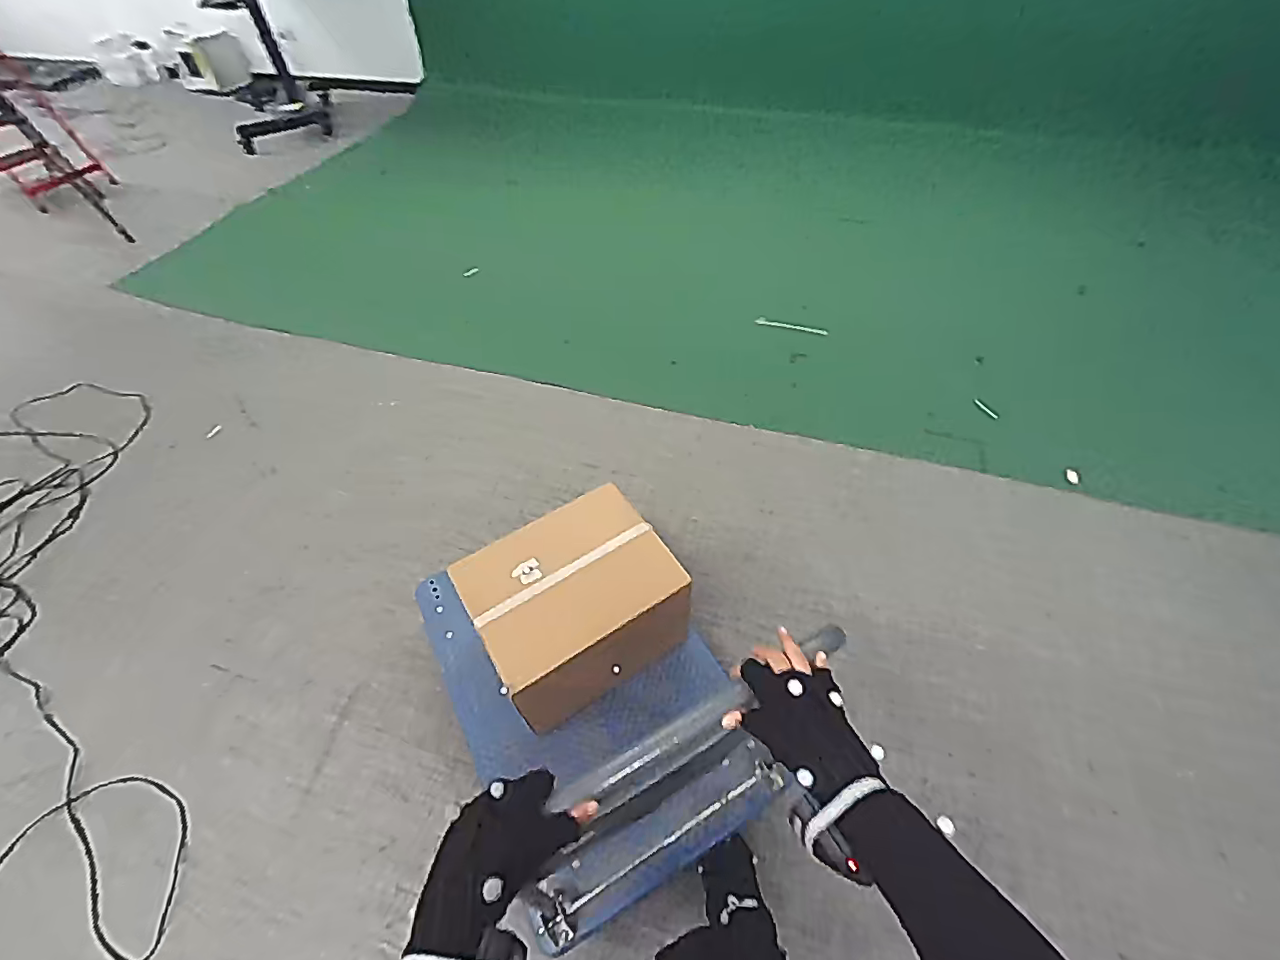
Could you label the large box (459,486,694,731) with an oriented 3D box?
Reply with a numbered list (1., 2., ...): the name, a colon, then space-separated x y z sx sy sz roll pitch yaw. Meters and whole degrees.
1. large box: -0.128 0.291 1.234 0.408 0.320 0.320 -30 56 -18
